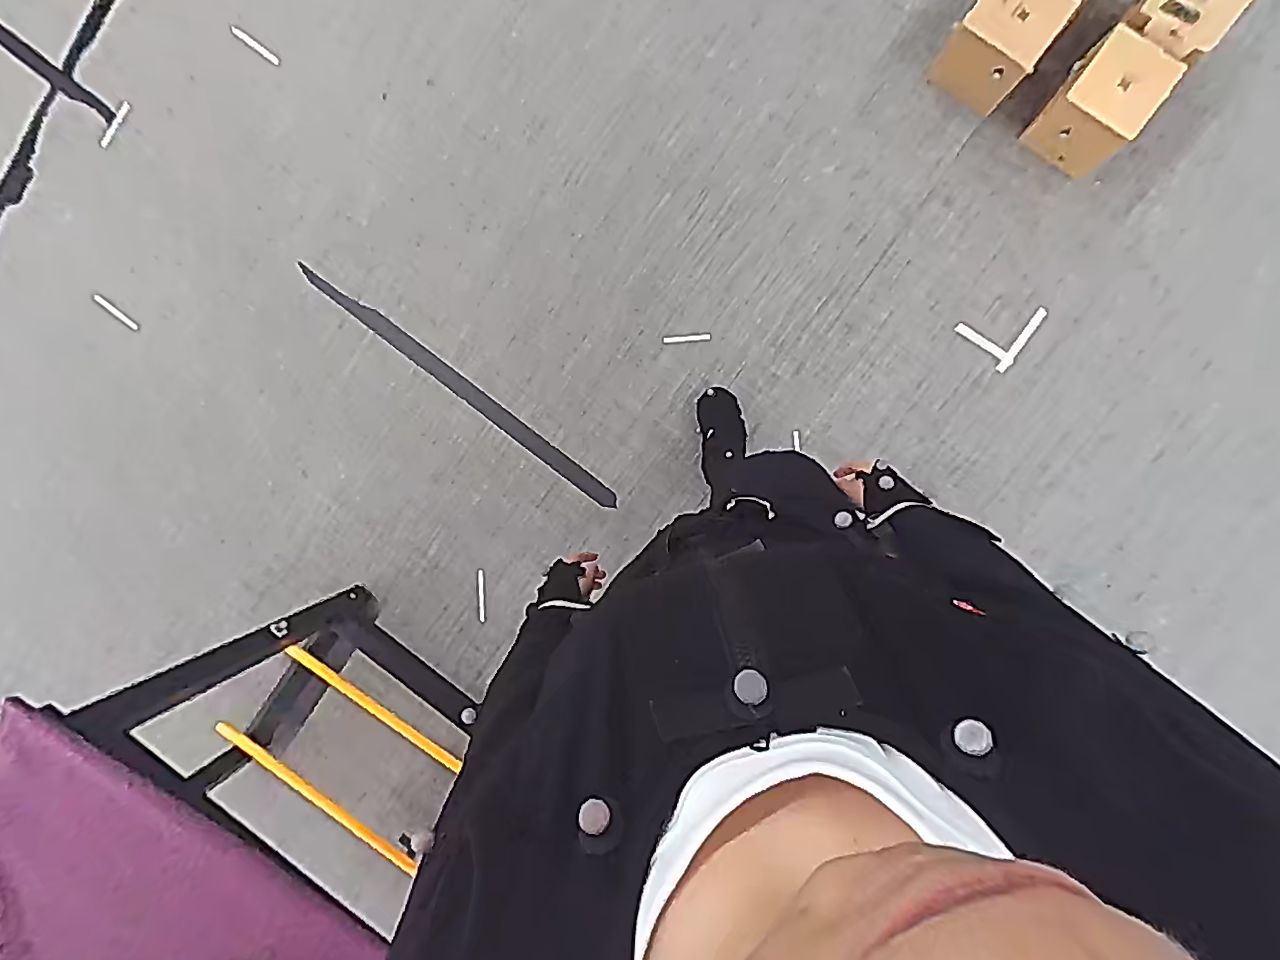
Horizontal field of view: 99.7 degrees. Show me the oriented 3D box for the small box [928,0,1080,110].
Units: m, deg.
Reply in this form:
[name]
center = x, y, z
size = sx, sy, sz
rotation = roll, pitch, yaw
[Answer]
[small box]
center = 0.777, -0.956, 1.176
size = 0.179, 0.176, 0.168
rotation = 37, 96, 2
